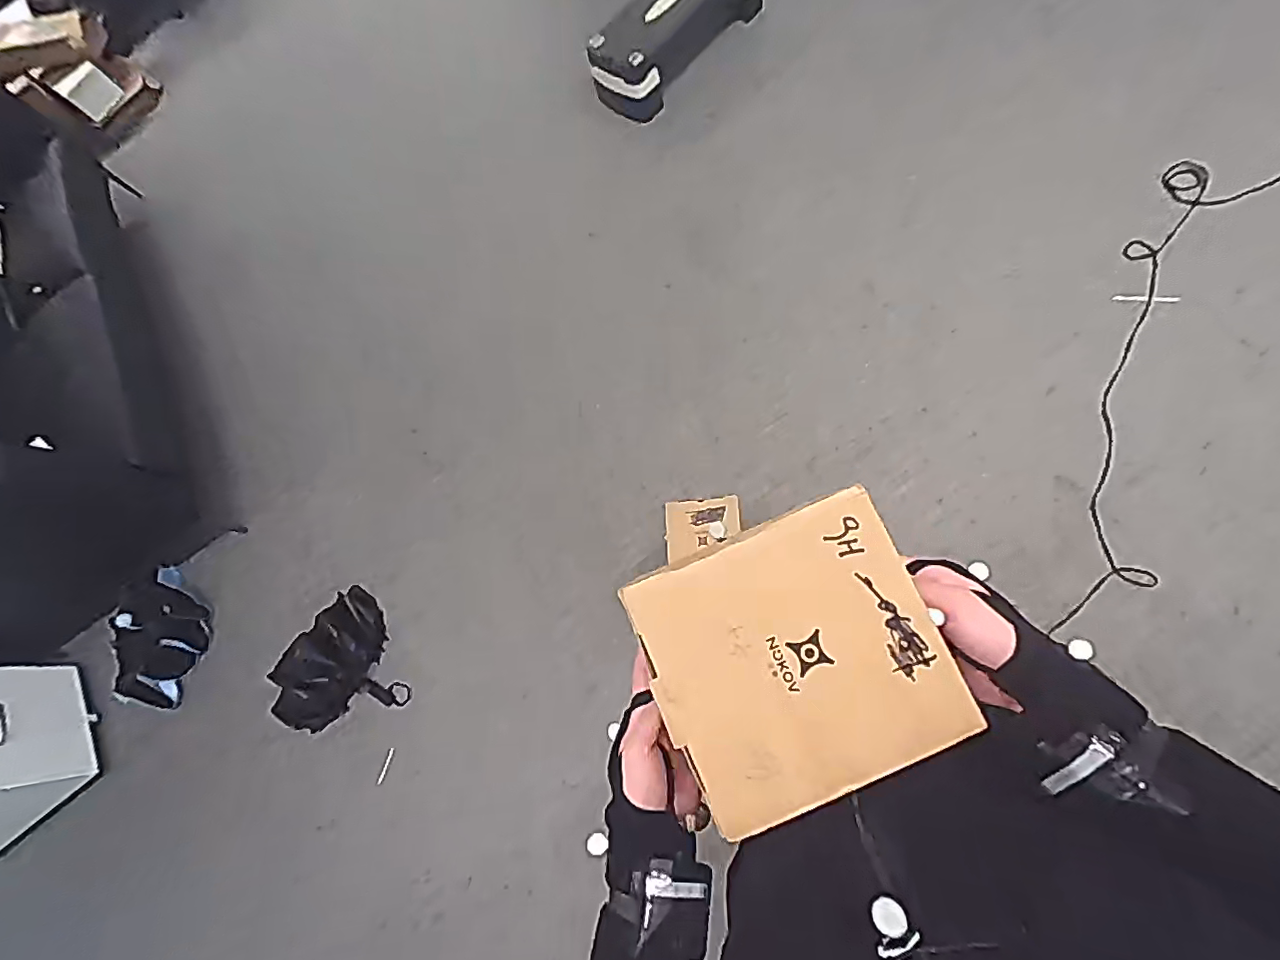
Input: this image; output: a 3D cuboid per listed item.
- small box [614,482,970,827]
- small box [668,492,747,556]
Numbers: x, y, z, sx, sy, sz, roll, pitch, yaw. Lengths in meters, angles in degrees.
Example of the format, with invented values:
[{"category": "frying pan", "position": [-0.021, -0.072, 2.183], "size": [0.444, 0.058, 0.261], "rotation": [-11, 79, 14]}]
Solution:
[{"category": "small box", "position": [0.099, 0.118, 0.419], "size": [0.179, 0.176, 0.168], "rotation": [-24, 82, 1]}, {"category": "small box", "position": [0.164, 0.137, 1.256], "size": [0.168, 0.176, 0.179], "rotation": [-6, 74, 14]}]
